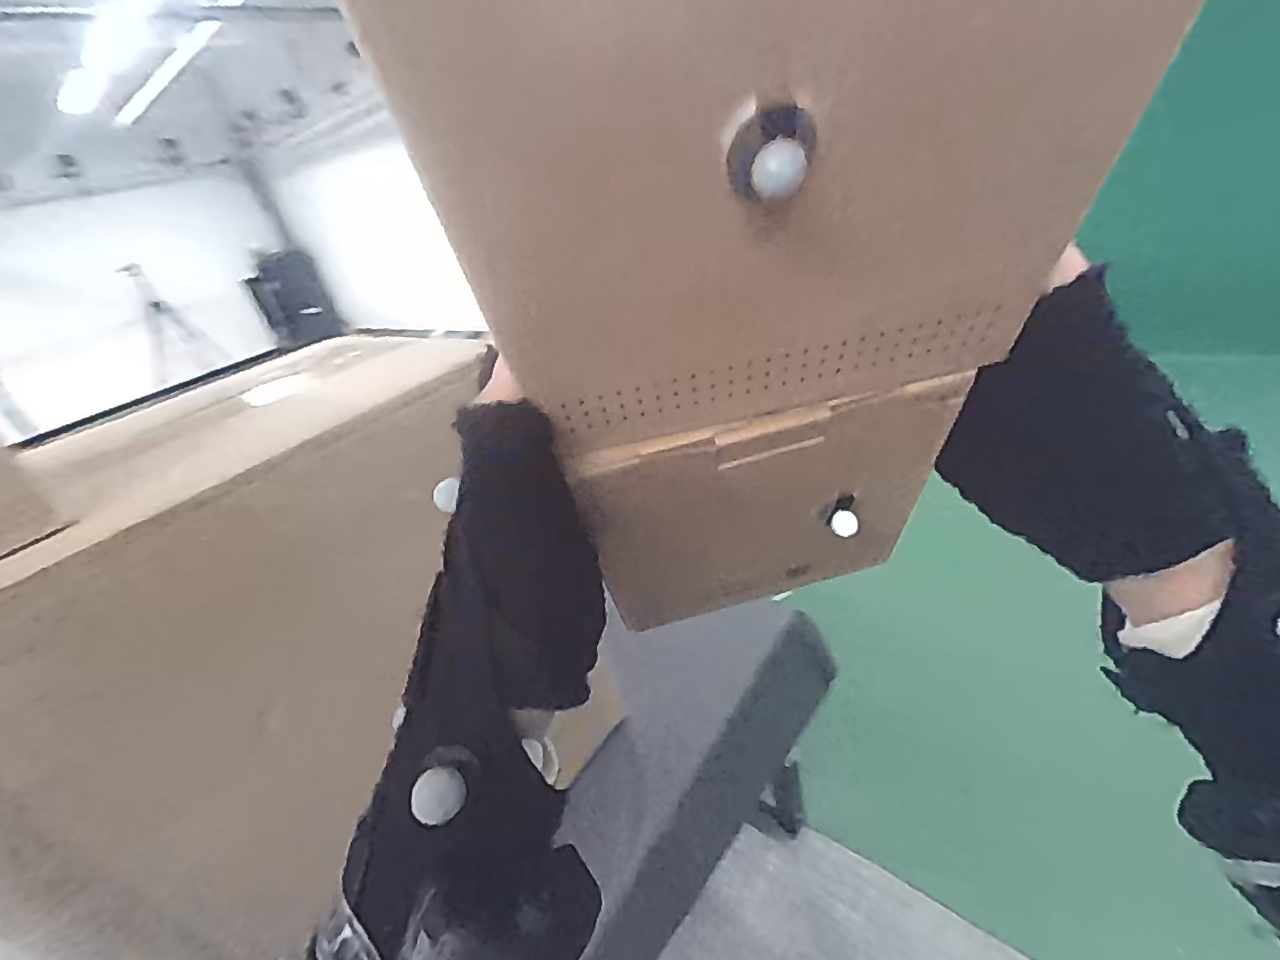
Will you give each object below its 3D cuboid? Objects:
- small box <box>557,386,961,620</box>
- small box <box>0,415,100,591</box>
[{"bbox_3d":[0.045,-0.032,0.324,0.168,0.176,0.179,-14,53,0],"label":"small box"},{"bbox_3d":[-0.509,0.004,0.342,0.179,0.176,0.168,11,40,32],"label":"small box"}]
